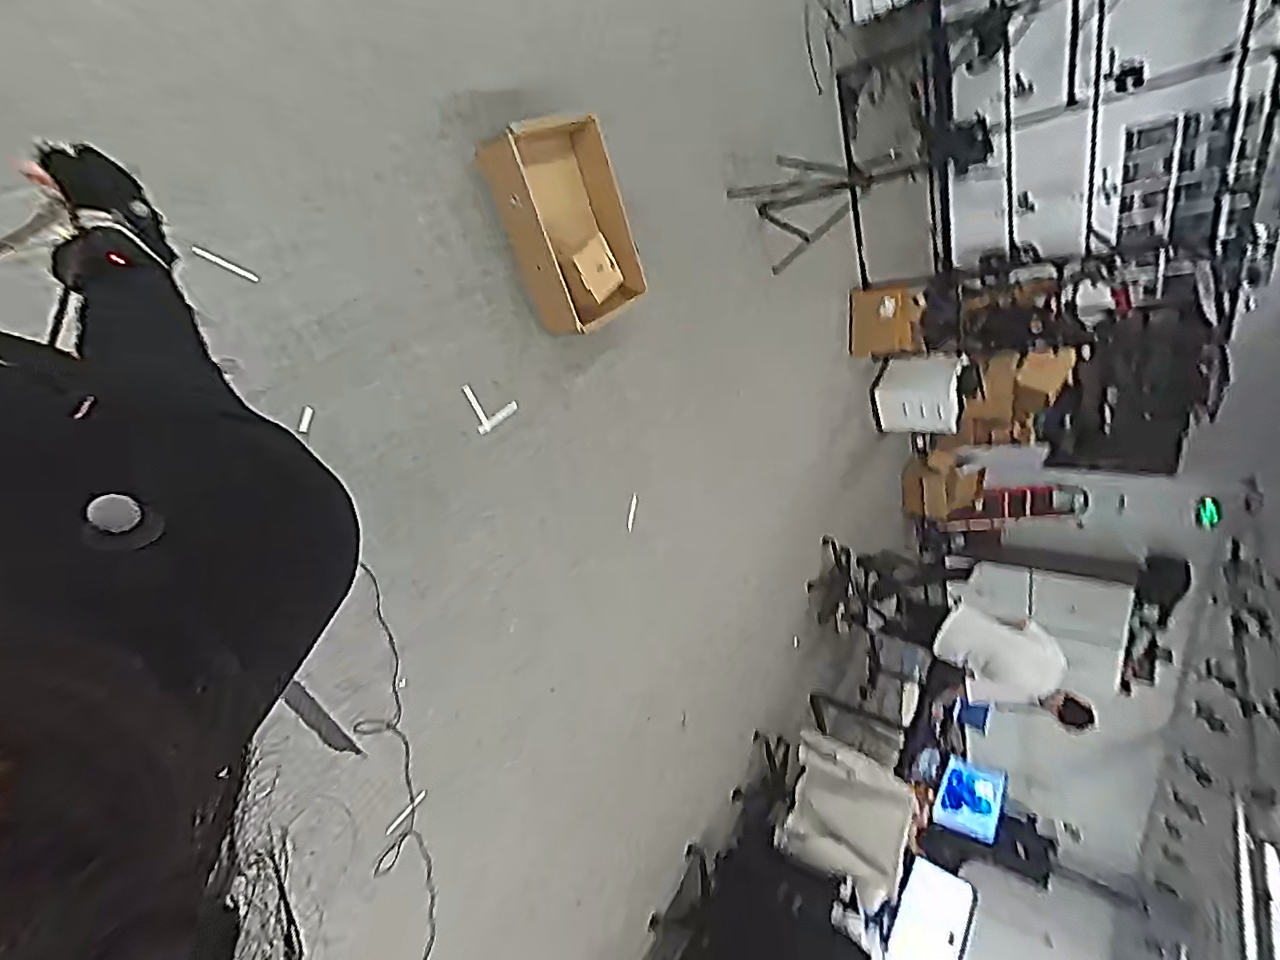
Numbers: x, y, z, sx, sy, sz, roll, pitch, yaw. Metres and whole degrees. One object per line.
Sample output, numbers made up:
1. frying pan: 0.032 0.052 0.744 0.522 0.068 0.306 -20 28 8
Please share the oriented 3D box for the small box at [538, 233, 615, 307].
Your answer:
1. small box: -0.224 -0.716 1.857 0.179 0.176 0.168 -55 132 -30
